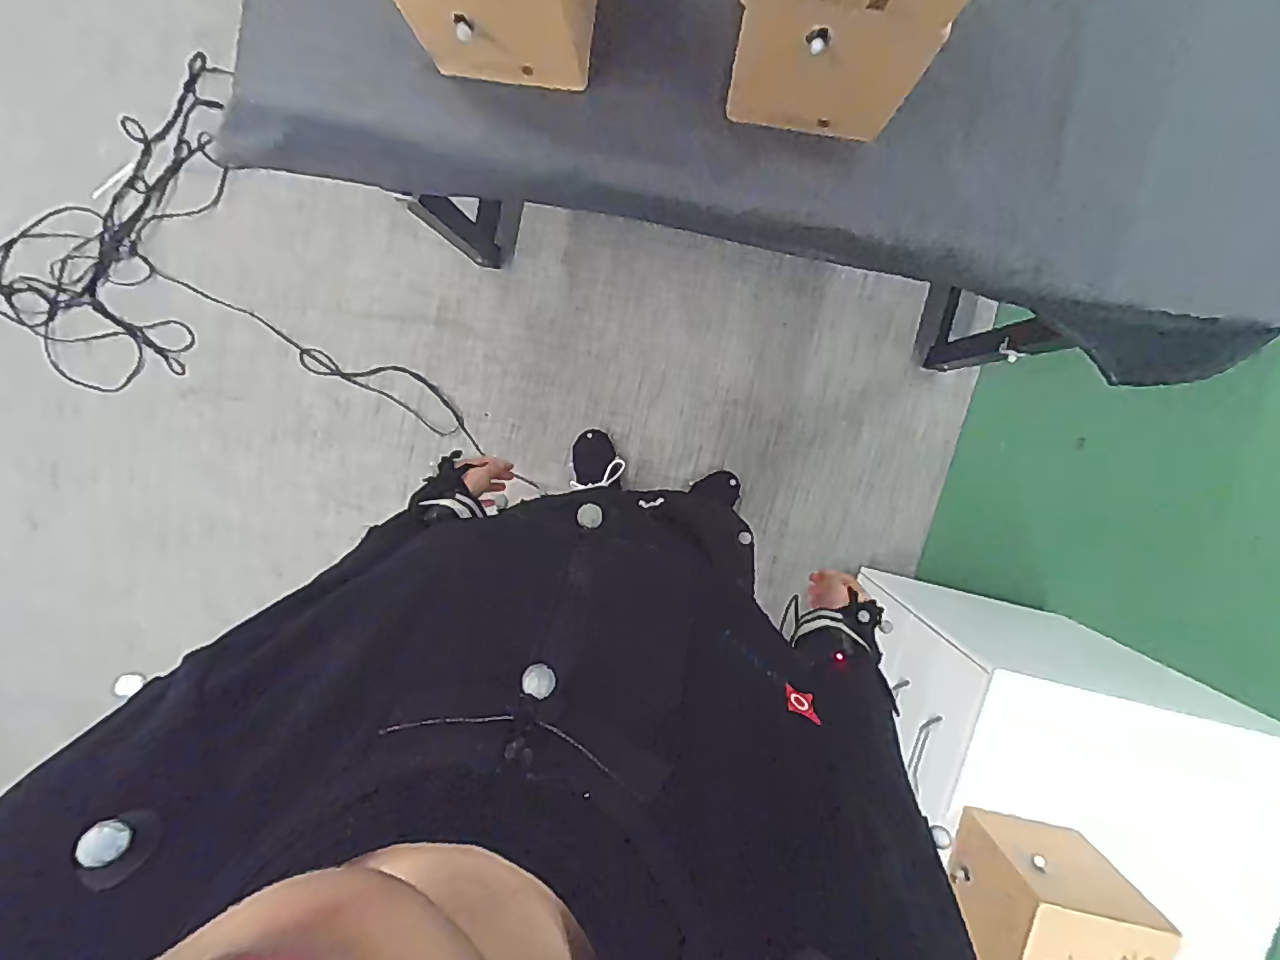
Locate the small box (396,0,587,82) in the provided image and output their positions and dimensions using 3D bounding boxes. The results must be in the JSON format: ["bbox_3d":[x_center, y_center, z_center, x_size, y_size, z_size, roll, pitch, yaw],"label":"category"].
[{"bbox_3d":[-0.139,-0.519,0.509,0.168,0.176,0.179,8,96,1],"label":"small box"}]

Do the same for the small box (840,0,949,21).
[{"bbox_3d":[0.168,-0.444,0.338,0.168,0.176,0.179,10,97,0],"label":"small box"}]

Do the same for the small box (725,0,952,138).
[{"bbox_3d":[0.180,-0.463,0.503,0.168,0.176,0.179,10,96,1],"label":"small box"}]
